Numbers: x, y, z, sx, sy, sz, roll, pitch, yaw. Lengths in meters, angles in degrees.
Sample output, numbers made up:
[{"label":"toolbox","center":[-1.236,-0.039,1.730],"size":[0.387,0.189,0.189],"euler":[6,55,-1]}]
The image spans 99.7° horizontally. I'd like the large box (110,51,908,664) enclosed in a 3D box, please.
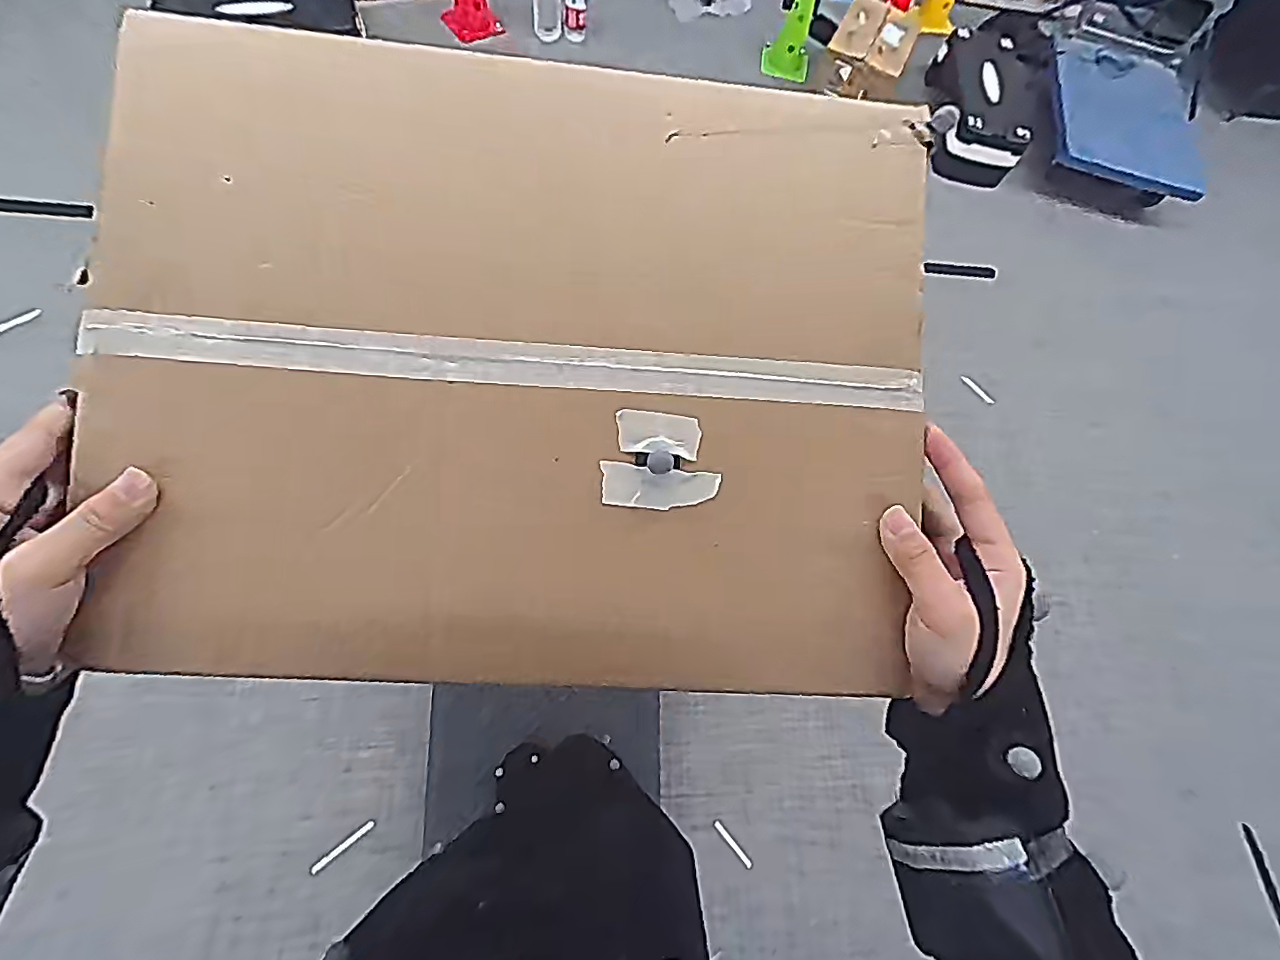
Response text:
[{"label":"large box","center":[-0.066,-0.053,0.433],"size":[0.408,0.320,0.320],"euler":[4,87,-5]}]
